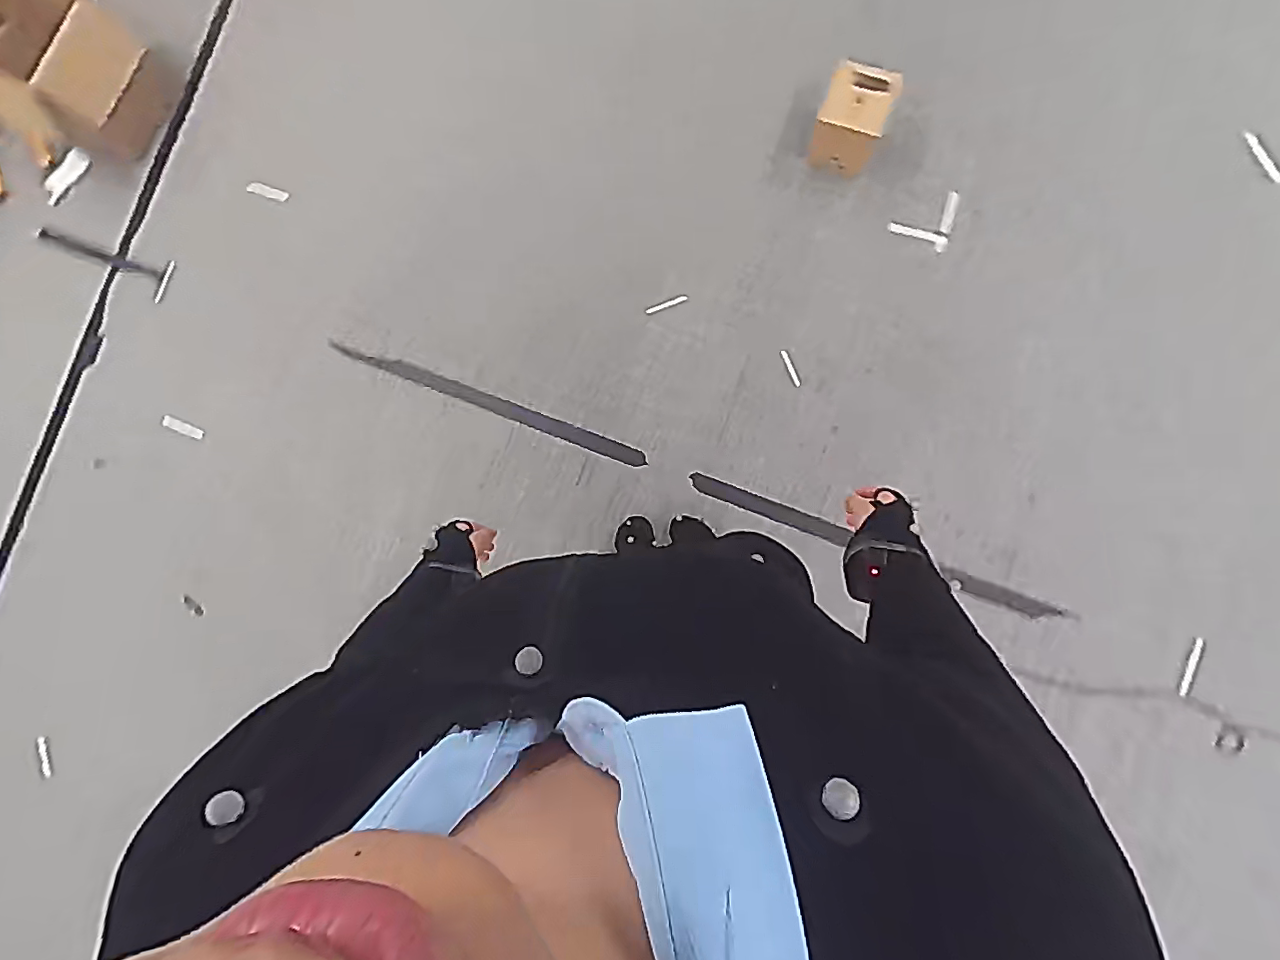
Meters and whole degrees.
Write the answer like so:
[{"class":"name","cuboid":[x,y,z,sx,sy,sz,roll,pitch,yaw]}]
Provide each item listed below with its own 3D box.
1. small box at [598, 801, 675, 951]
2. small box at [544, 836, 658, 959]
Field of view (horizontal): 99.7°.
[{"class":"small box","cuboid":[-0.023,0.848,1.177,0.168,0.176,0.179,15,86,8]},{"class":"small box","cuboid":[-0.067,0.826,1.018,0.168,0.176,0.179,15,86,8]}]
